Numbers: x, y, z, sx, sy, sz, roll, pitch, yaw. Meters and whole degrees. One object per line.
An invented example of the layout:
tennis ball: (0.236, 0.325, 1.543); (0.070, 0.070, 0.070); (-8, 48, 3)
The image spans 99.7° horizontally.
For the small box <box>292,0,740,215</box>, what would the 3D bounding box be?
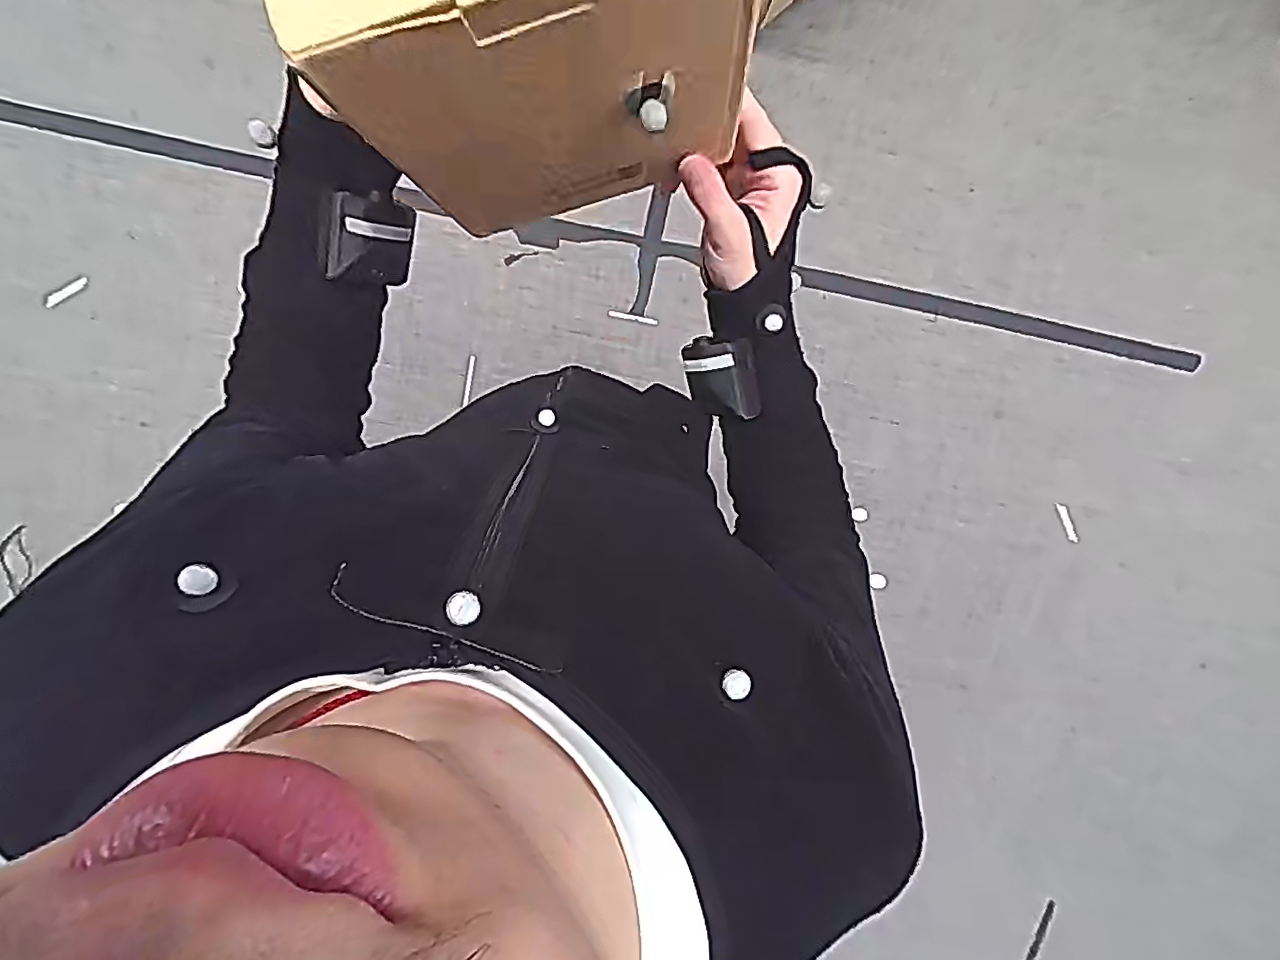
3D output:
small box: (-0.052, -0.251, 0.255); (0.168, 0.176, 0.179); (-16, 93, 5)
